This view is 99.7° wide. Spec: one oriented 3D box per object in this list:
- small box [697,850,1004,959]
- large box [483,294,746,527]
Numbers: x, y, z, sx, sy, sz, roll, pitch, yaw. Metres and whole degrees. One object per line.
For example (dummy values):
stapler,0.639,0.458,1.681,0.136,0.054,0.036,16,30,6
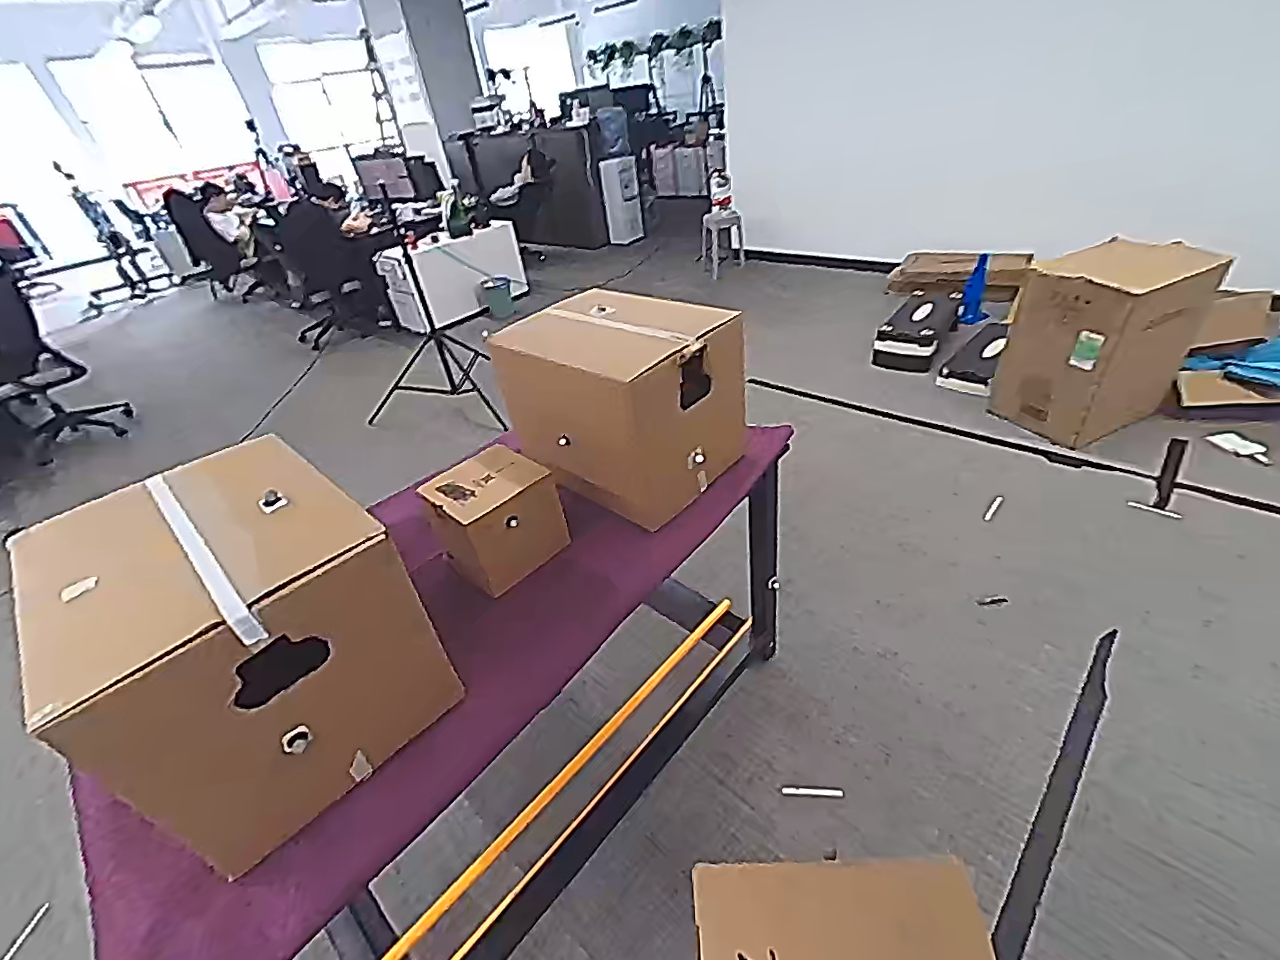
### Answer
small box,0.131,0.353,0.359,0.179,0.176,0.168,-5,49,4
large box,-0.038,-0.161,1.101,0.408,0.320,0.320,22,46,38
